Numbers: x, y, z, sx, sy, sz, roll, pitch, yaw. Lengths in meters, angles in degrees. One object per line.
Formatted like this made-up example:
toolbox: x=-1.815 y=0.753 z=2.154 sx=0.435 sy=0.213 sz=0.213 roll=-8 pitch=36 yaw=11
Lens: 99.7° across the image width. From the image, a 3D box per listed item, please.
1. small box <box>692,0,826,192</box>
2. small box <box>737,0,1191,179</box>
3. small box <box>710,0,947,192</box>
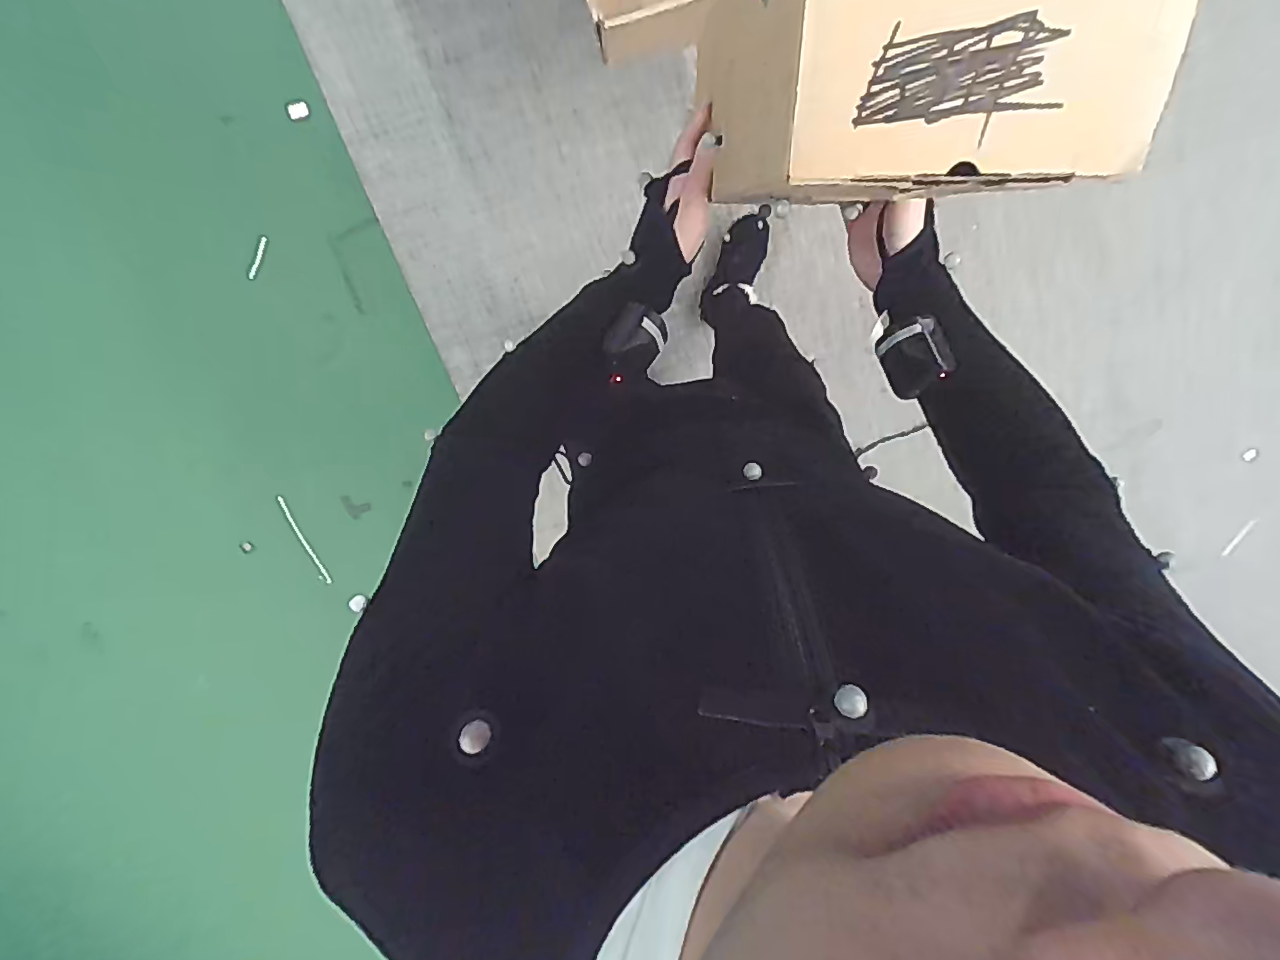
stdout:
small box: x=0.147 y=-0.409 z=0.579 sx=0.168 sy=0.176 sz=0.179 roll=1 pitch=116 yaw=-1
small box: x=0.149 y=-0.262 z=0.286 sx=0.168 sy=0.176 sz=0.179 roll=-1 pitch=116 yaw=0
small box: x=0.150 y=-0.333 z=0.434 sx=0.168 sy=0.176 sz=0.179 roll=1 pitch=116 yaw=-1
